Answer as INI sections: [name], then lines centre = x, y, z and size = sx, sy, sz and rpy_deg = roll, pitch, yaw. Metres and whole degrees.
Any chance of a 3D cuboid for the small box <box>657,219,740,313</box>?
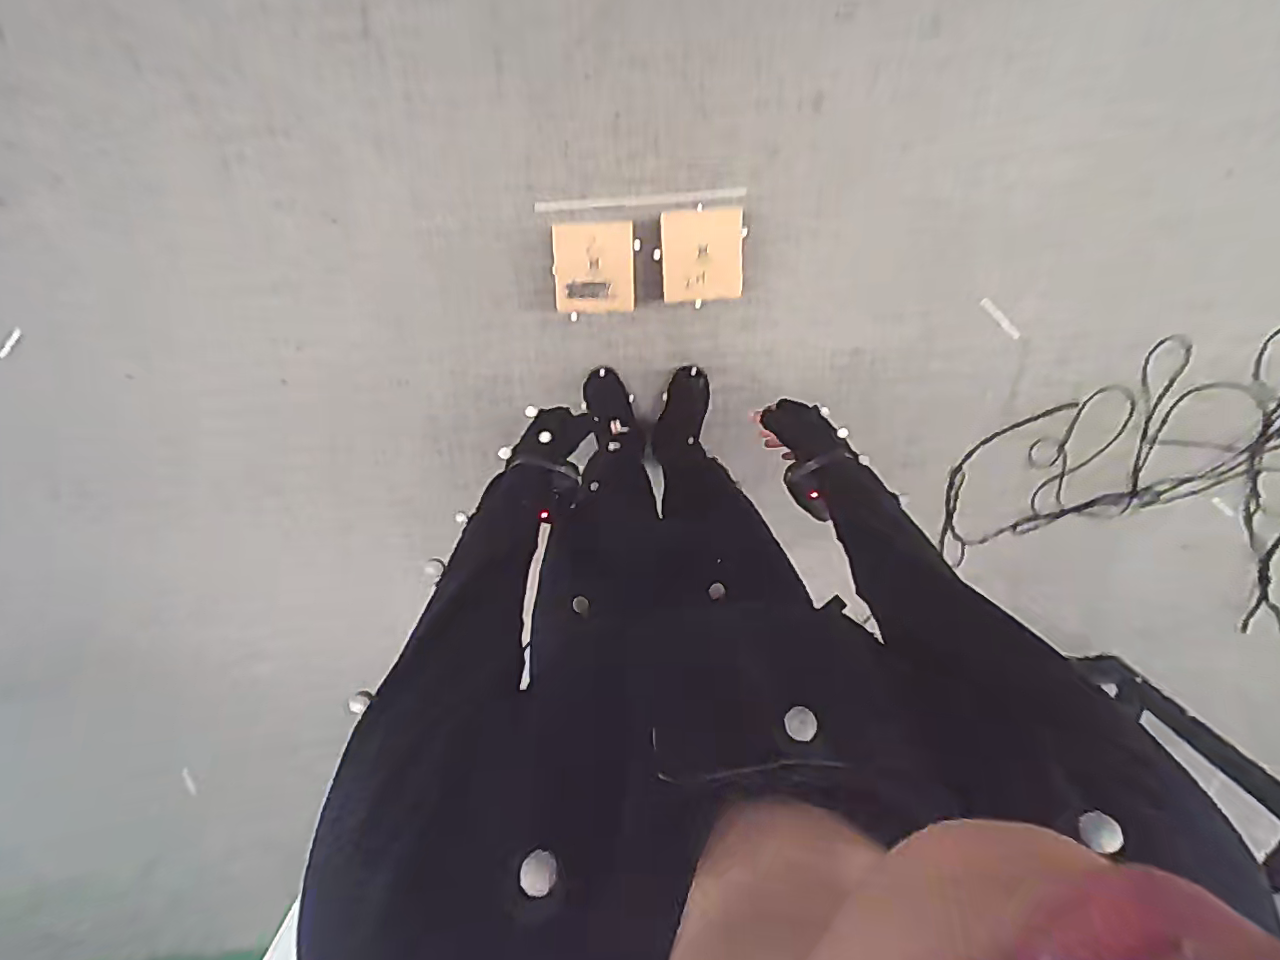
[small box]
centre = 0.125, -0.463, 1.191
size = 0.168, 0.176, 0.179
rpy_deg = -3, 108, 2
